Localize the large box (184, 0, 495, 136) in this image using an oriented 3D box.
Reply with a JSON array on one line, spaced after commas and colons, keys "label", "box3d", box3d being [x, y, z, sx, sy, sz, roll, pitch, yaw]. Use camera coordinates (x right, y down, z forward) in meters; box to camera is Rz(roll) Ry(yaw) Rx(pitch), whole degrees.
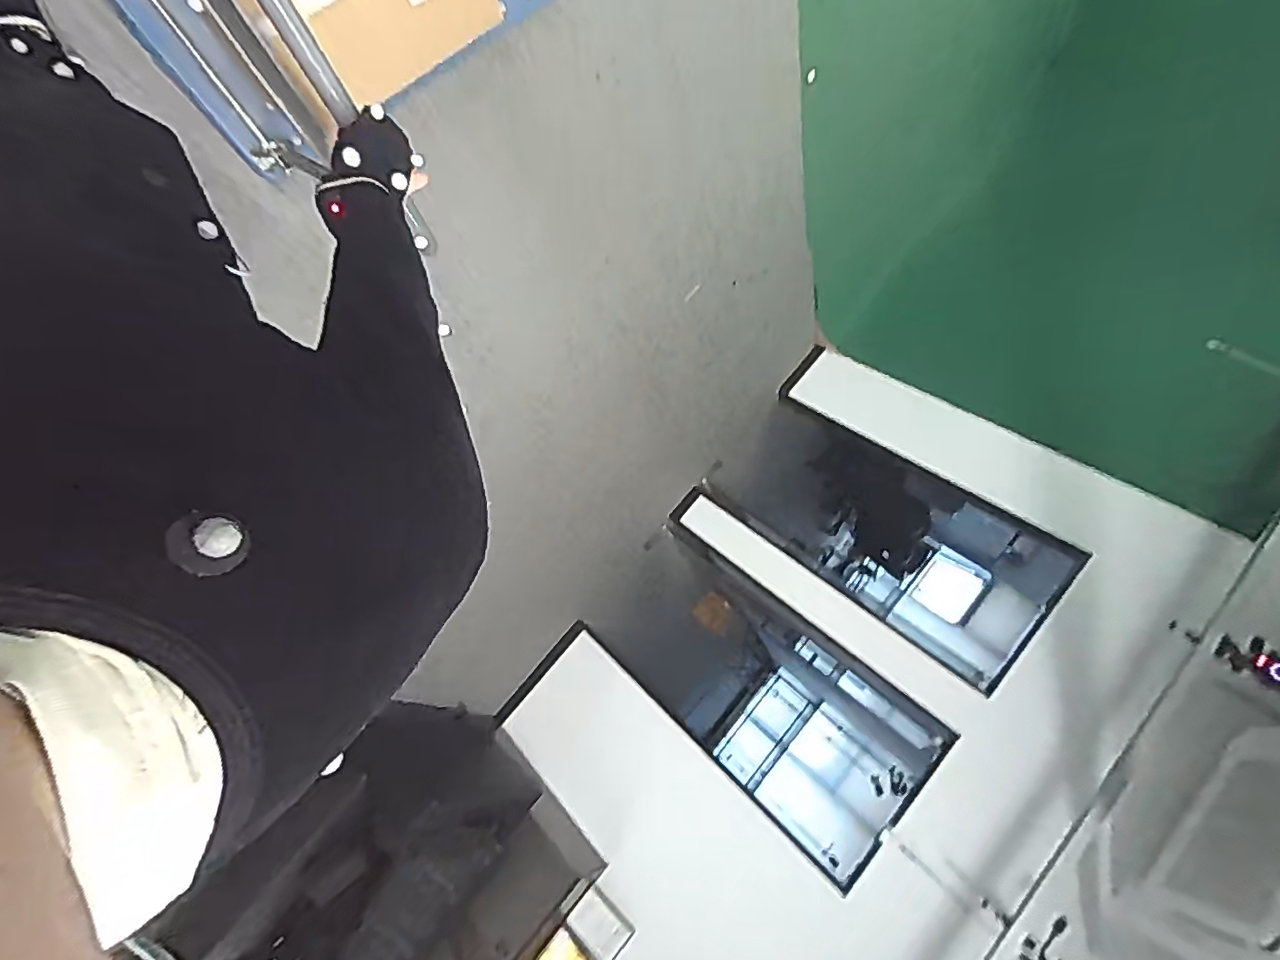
[{"label": "large box", "box3d": [-0.543, -0.877, 0.921, 0.408, 0.320, 0.320, -46, 150, -13]}]
